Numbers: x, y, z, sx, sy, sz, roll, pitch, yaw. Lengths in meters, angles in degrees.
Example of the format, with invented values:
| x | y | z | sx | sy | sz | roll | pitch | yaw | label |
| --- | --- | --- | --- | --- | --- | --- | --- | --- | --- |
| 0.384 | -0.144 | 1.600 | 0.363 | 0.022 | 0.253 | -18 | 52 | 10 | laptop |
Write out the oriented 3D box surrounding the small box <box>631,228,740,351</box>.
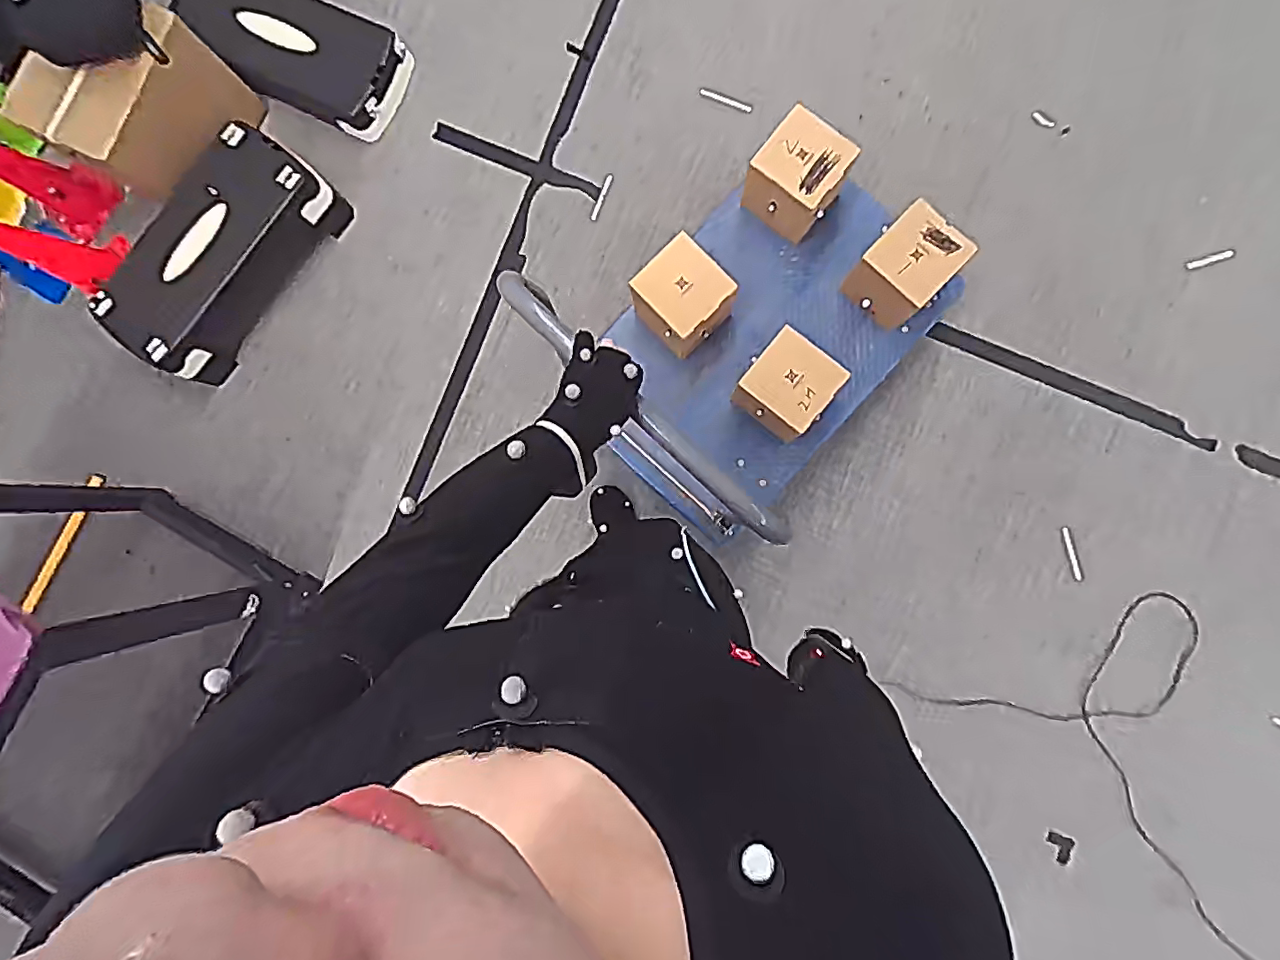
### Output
| x | y | z | sx | sy | sz | roll | pitch | yaw | label |
| --- | --- | --- | --- | --- | --- | --- | --- | --- | --- |
| 0.100 | -0.423 | 1.234 | 0.168 | 0.176 | 0.179 | -45 | 87 | 2 | small box |

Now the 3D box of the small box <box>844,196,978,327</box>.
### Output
| x | y | z | sx | sy | sz | roll | pitch | yaw | label |
| --- | --- | --- | --- | --- | --- | --- | --- | --- | --- |
| 0.590 | -0.476 | 1.206 | 0.168 | 0.176 | 0.179 | 45 | 92 | 4 | small box |

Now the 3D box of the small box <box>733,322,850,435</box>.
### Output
| x | y | z | sx | sy | sz | roll | pitch | yaw | label |
| --- | --- | --- | --- | --- | --- | --- | --- | --- | --- |
| 0.328 | -0.216 | 1.213 | 0.179 | 0.176 | 0.168 | 40 | 91 | 4 | small box |
